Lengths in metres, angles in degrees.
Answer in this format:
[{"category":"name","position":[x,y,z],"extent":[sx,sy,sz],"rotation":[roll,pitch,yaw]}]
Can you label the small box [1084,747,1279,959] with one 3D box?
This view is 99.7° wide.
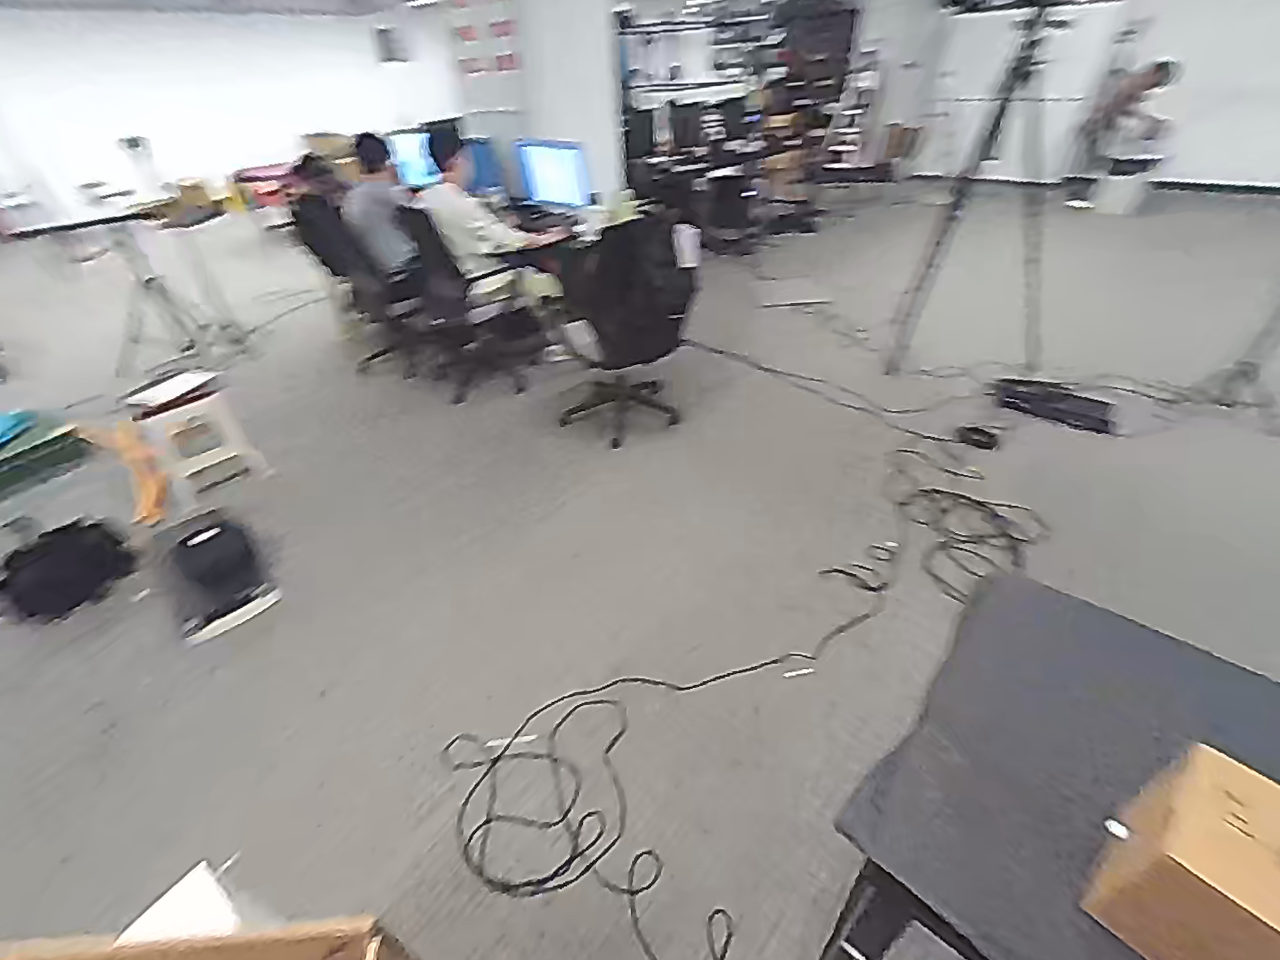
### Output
[{"category":"small box","position":[0.615,0.428,0.553],"extent":[0.168,0.176,0.179],"rotation":[-28,43,-30]}]
